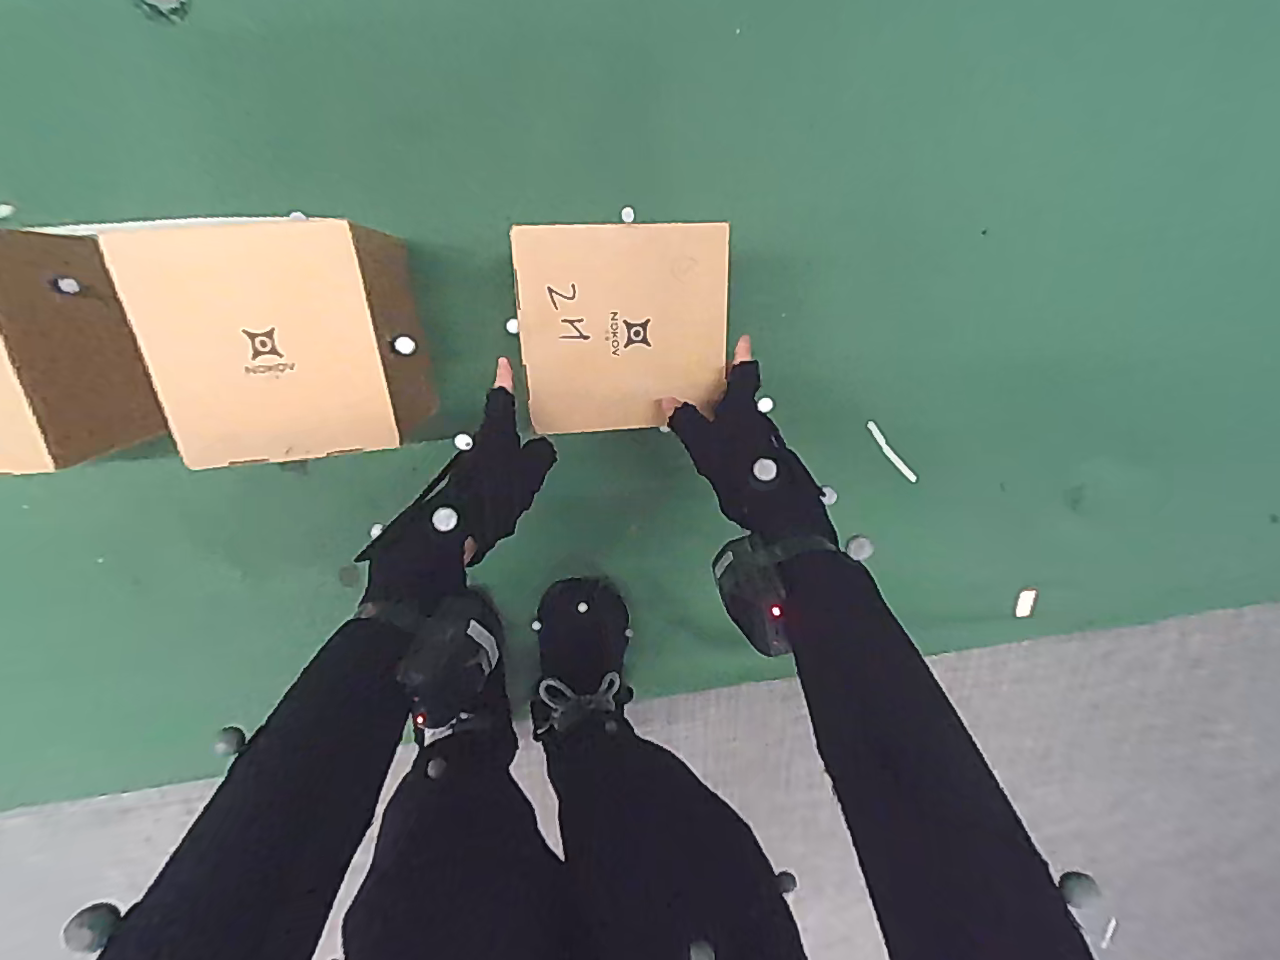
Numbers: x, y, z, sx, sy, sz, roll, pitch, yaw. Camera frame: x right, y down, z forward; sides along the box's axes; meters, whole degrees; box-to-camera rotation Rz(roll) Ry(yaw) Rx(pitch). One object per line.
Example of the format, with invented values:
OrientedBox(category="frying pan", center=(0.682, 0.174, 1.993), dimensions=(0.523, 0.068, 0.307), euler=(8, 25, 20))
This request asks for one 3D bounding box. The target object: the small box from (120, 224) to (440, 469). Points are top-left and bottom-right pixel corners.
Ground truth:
OrientedBox(category="small box", center=(-0.291, -0.124, 0.488), dimensions=(0.168, 0.176, 0.179), euler=(-6, 111, -7))

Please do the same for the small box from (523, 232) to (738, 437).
OrientedBox(category="small box", center=(-0.019, -0.146, 0.526), dimensions=(0.179, 0.176, 0.168), euler=(-4, 110, -9))
